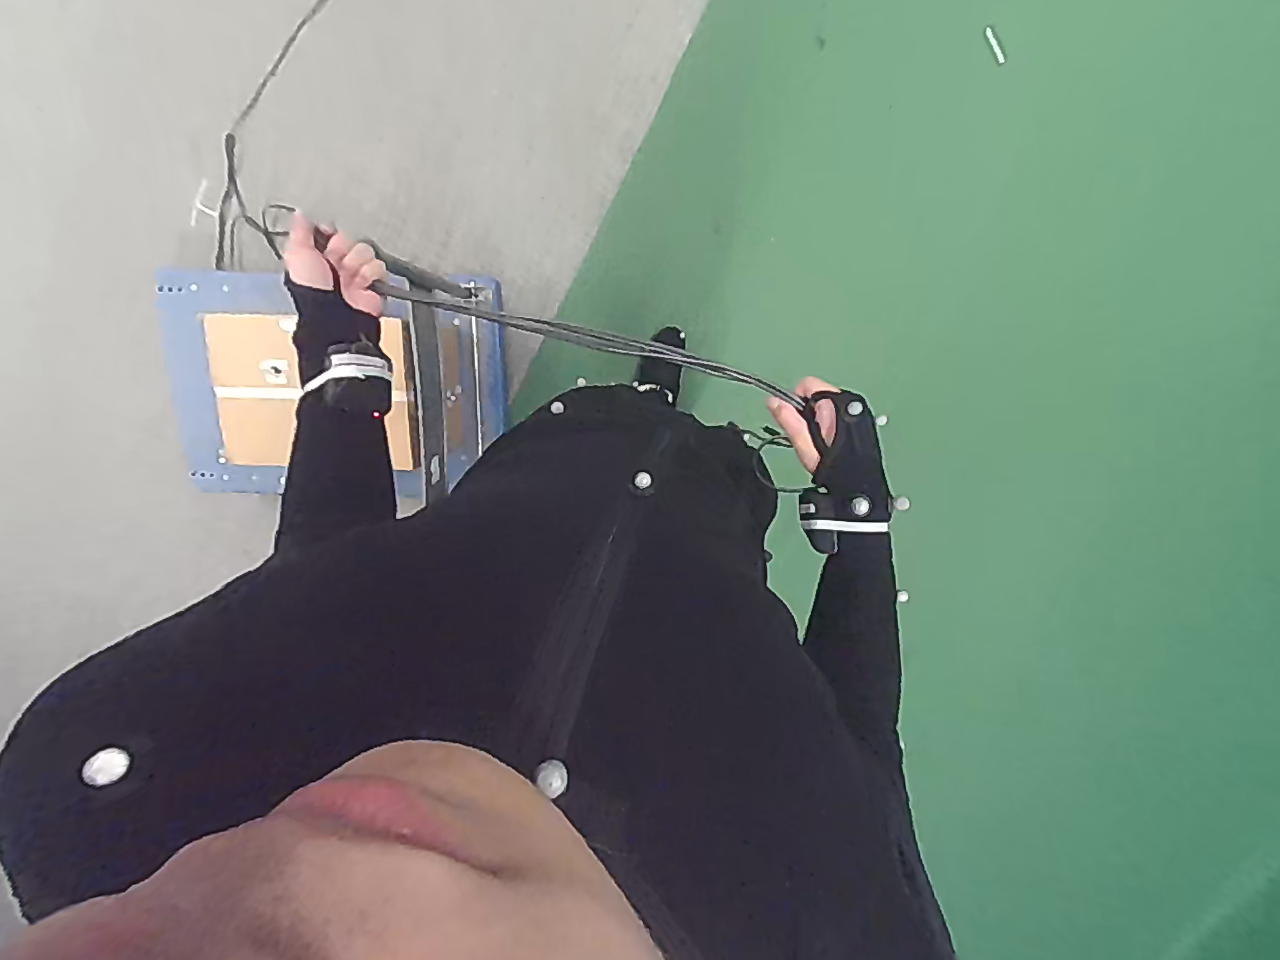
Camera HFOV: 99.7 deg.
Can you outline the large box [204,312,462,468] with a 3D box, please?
[{"bbox_3d":[-0.665,-0.215,1.245,0.408,0.320,0.320,2,103,2],"label":"large box"}]
